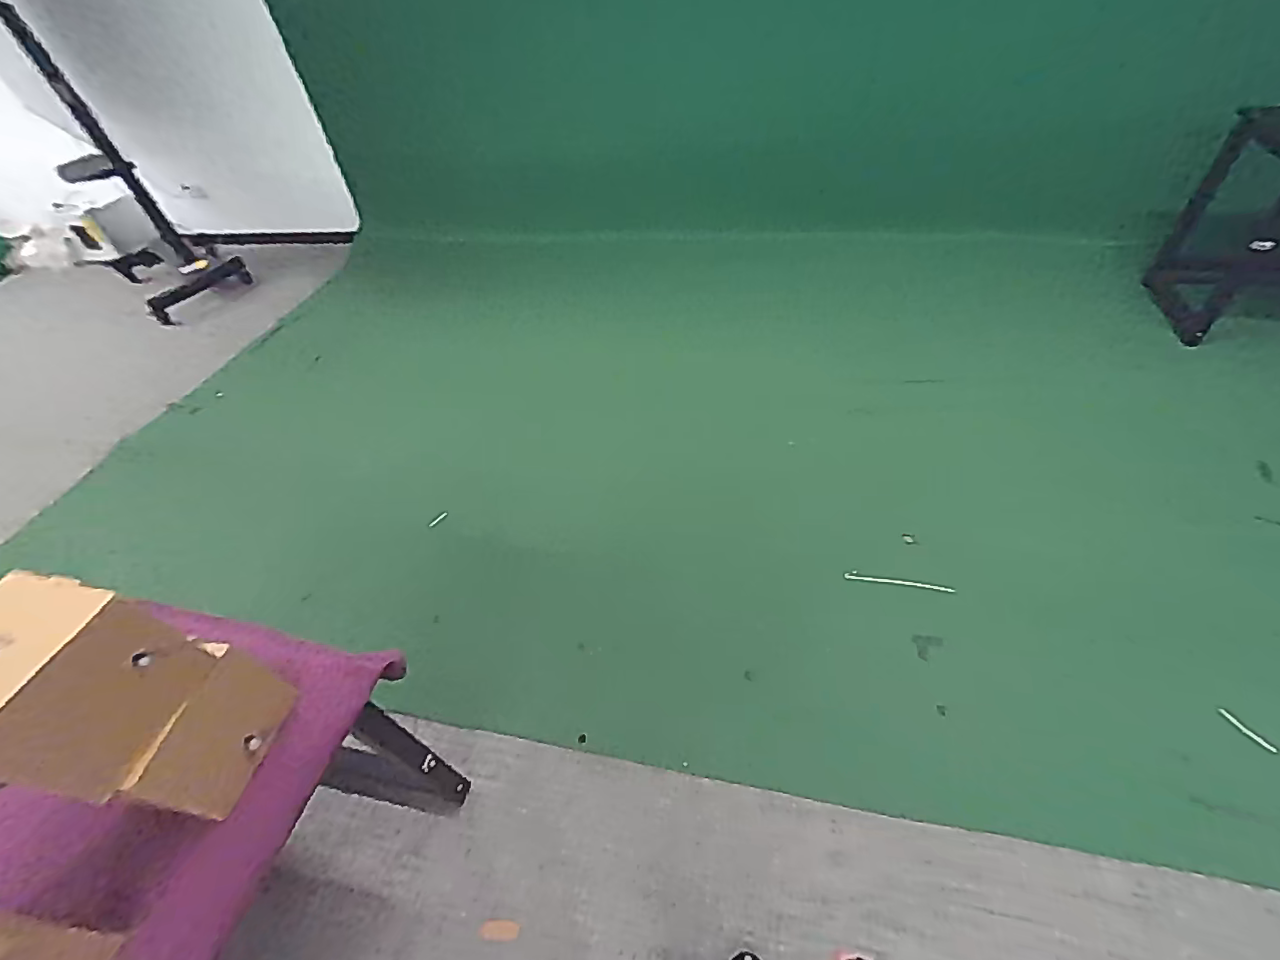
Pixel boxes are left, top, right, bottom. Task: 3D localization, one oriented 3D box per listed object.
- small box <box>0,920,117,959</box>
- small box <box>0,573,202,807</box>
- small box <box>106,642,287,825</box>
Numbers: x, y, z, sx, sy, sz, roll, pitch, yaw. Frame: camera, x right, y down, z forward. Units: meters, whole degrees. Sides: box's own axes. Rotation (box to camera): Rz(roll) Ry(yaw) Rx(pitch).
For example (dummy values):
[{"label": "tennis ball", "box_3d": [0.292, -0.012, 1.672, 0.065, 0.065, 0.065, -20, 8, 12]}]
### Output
[{"label": "small box", "box_3d": [-0.712, 0.550, 0.540, 0.179, 0.176, 0.168, 1, 47, 9]}, {"label": "small box", "box_3d": [-0.649, 0.233, 0.604, 0.168, 0.176, 0.179, 7, 49, 14]}, {"label": "small box", "box_3d": [-0.623, 0.336, 0.729, 0.168, 0.176, 0.179, 3, 48, 11]}]
